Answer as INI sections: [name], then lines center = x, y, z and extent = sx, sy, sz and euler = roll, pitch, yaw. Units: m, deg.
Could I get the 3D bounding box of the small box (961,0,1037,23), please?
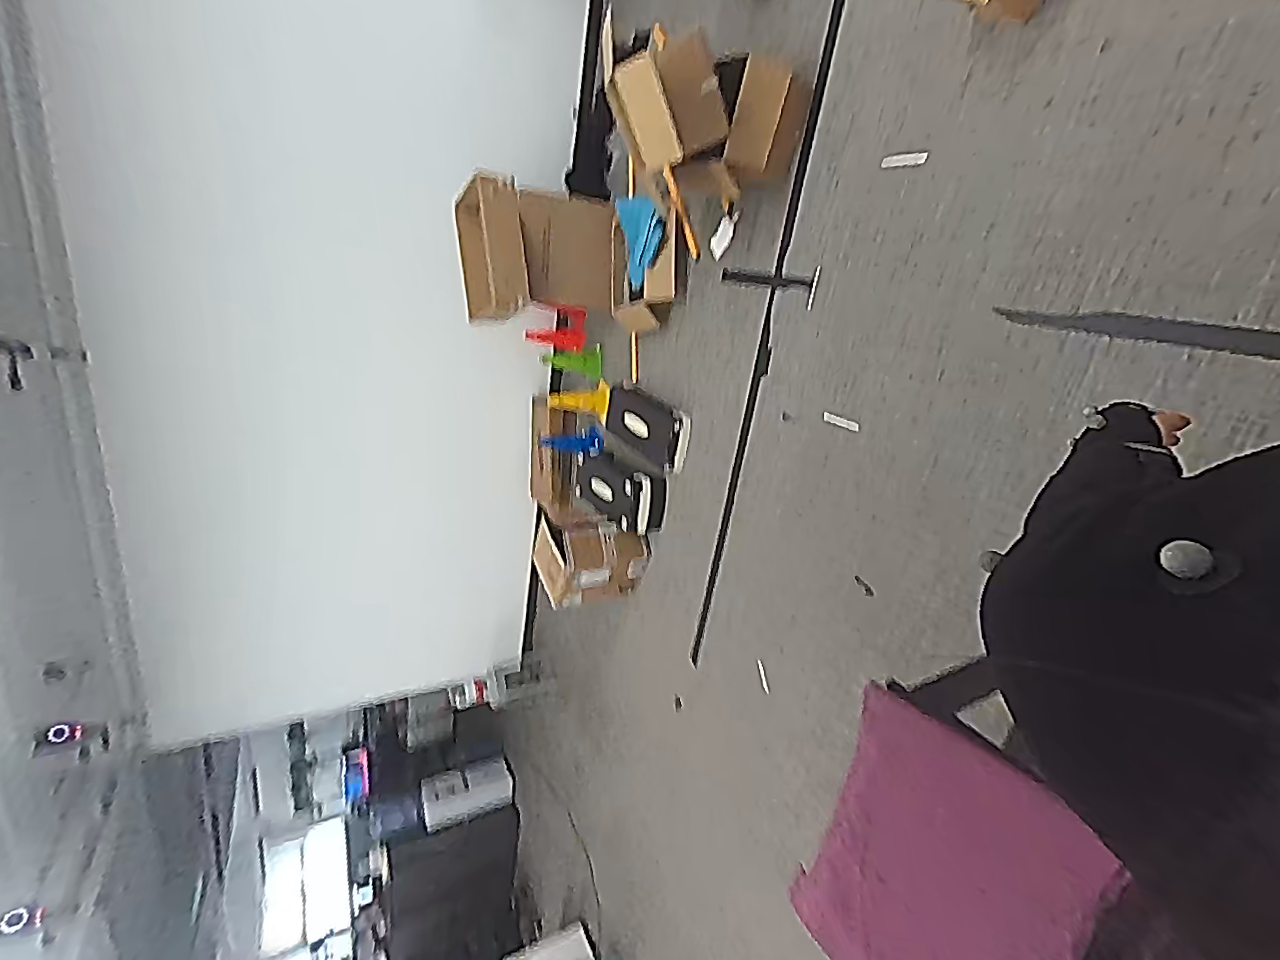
[small box]
center = 0.879, -1.241, 1.293
extent = 0.168, 0.176, 0.179
euler = 62, 140, 36
